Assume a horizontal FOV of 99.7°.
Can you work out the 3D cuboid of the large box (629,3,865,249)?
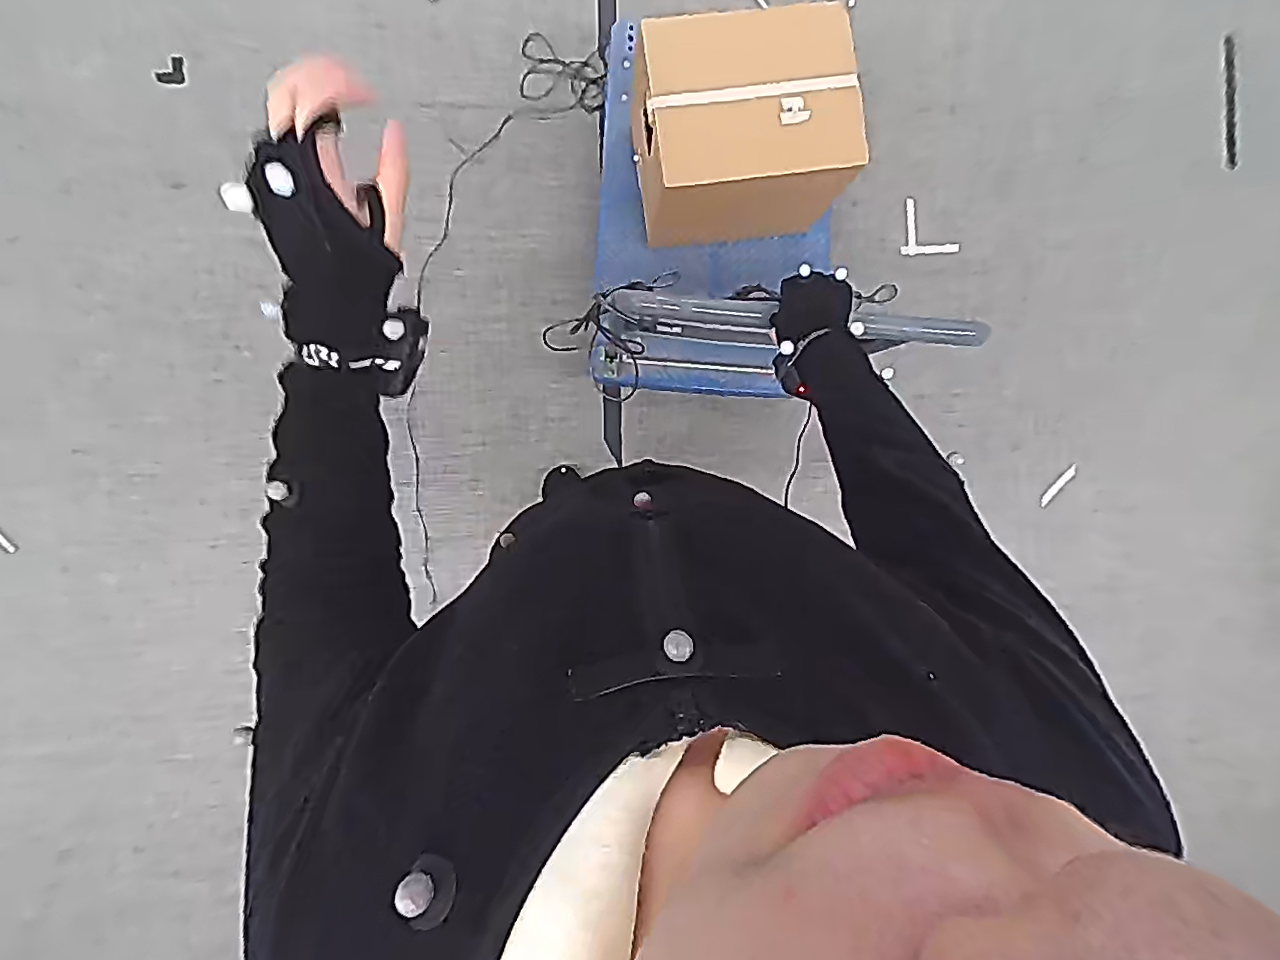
[{"bbox_3d":[0.204,-0.734,1.170,0.408,0.320,0.320,-9,93,-5],"label":"large box"}]
